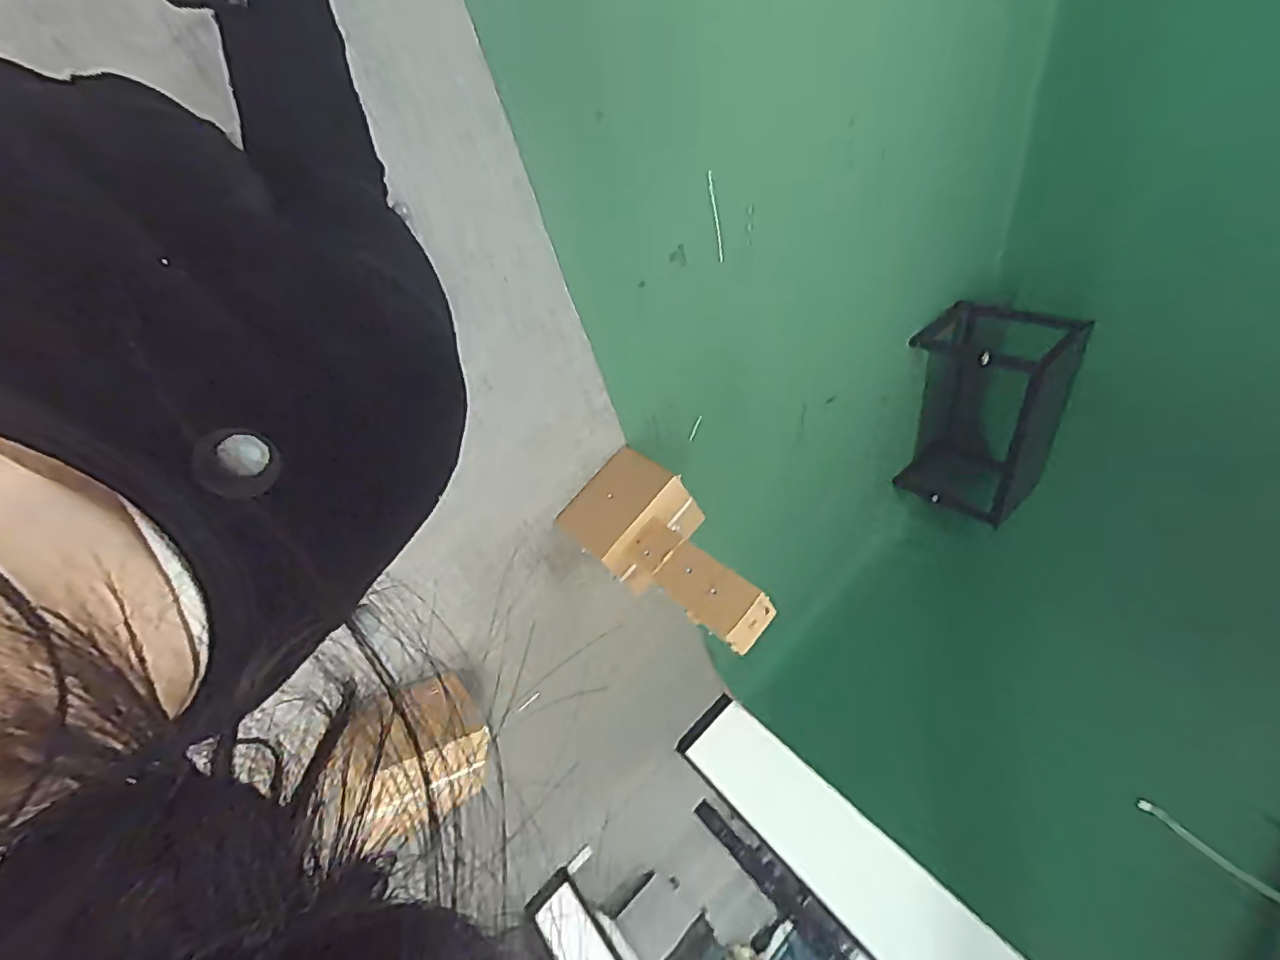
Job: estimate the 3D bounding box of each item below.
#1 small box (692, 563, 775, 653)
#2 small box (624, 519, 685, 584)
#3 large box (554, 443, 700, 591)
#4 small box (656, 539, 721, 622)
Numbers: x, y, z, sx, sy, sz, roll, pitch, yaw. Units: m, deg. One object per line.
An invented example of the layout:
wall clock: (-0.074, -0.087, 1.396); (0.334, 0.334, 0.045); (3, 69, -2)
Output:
small box: (0.281, 0.392, 1.672); (0.179, 0.176, 0.168); (-47, 137, -9)
small box: (0.073, 0.259, 1.889); (0.168, 0.176, 0.179); (-48, 137, -10)
large box: (-0.047, 0.138, 2.068); (0.408, 0.320, 0.320); (-50, 139, -11)
small box: (0.175, 0.328, 1.781); (0.179, 0.176, 0.168); (-49, 137, -10)
